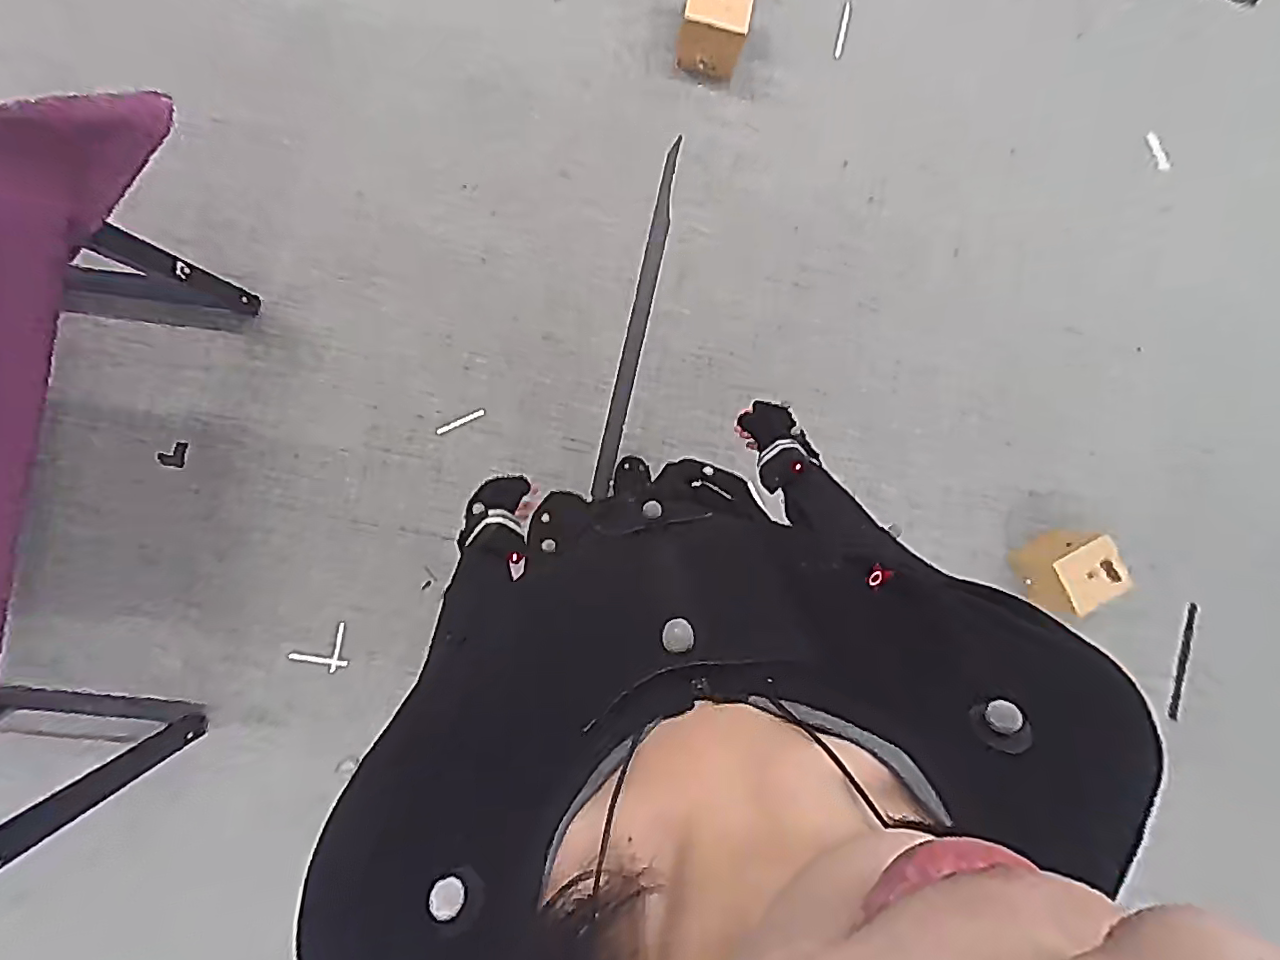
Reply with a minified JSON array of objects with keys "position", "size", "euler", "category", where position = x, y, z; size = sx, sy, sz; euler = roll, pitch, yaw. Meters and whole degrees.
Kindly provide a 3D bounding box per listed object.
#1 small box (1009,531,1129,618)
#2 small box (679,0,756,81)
[{"position":[1.201,0.258,1.526],"size":[0.179,0.176,0.168],"euler":[-28,92,-2],"category":"small box"},{"position":[0.206,-1.217,1.433],"size":[0.168,0.176,0.179],"euler":[12,91,-3],"category":"small box"}]
